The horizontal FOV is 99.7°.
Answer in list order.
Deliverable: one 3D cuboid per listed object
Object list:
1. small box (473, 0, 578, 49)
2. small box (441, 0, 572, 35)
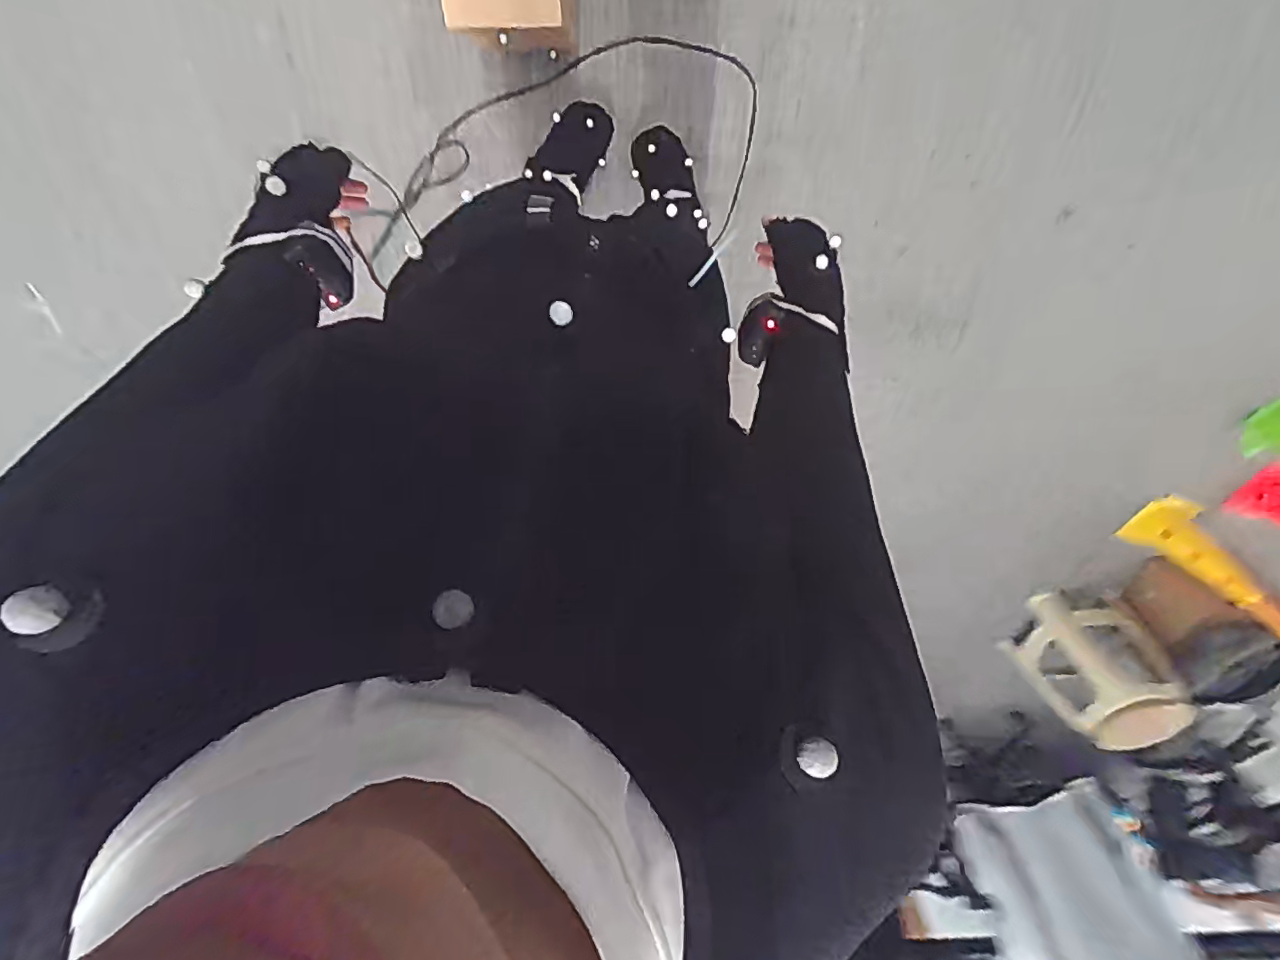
[{"bbox_3d":[-0.202,-0.873,0.954,0.179,0.176,0.168,0,126,-1],"label":"small box"},{"bbox_3d":[-0.201,-0.784,0.816,0.179,0.176,0.168,0,127,-2],"label":"small box"}]
